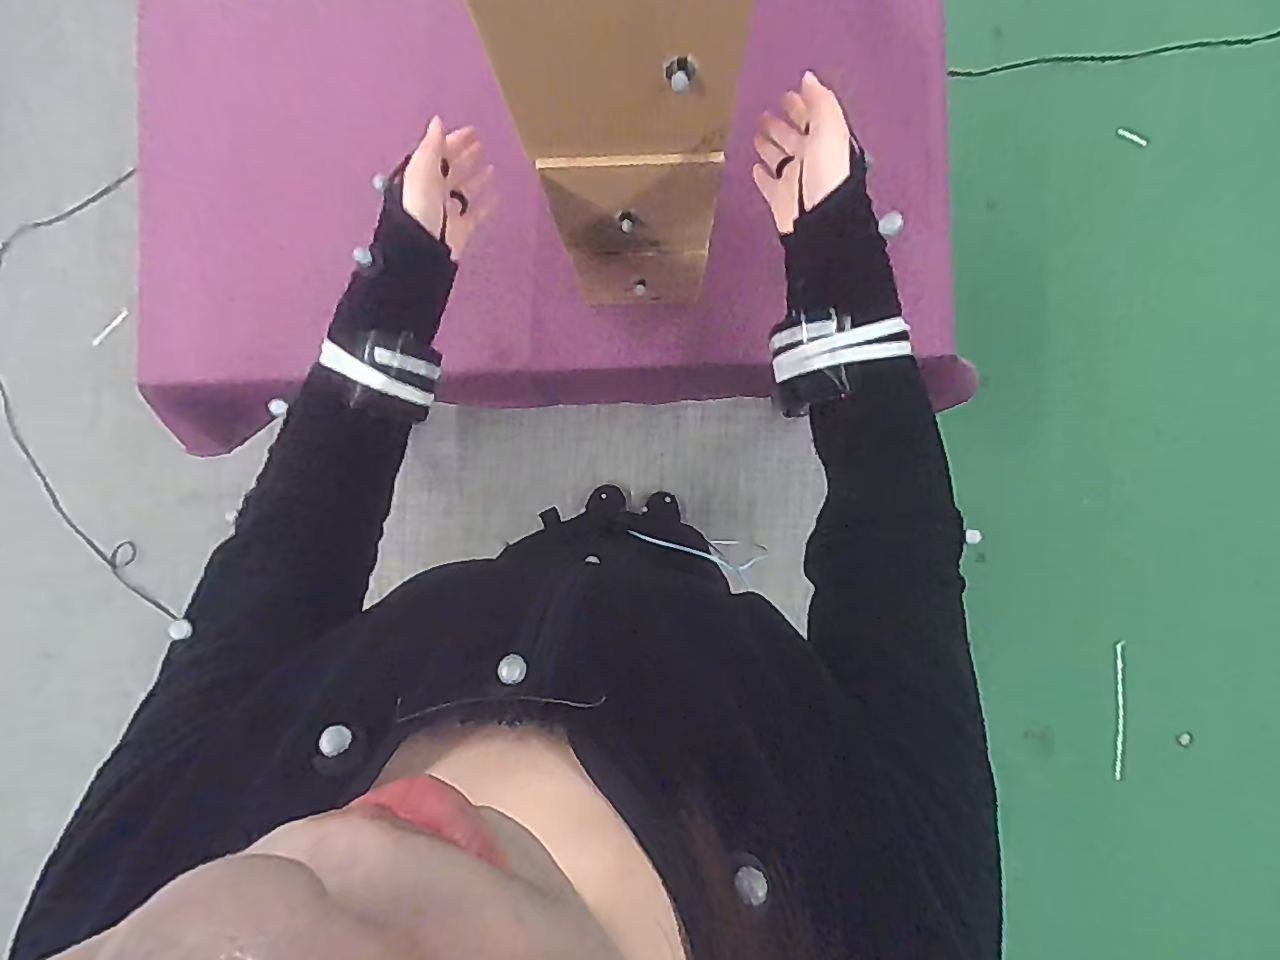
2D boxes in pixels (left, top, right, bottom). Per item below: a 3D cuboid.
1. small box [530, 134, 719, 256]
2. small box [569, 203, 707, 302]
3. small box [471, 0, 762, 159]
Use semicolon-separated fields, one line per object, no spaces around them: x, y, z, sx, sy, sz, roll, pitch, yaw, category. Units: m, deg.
-0.011;-0.349;0.548;0.168;0.176;0.179;3;86;-2;small box
0.000;-0.345;0.717;0.168;0.176;0.179;0;89;1;small box
-0.013;-0.360;0.389;0.179;0.176;0.168;-1;87;2;small box
